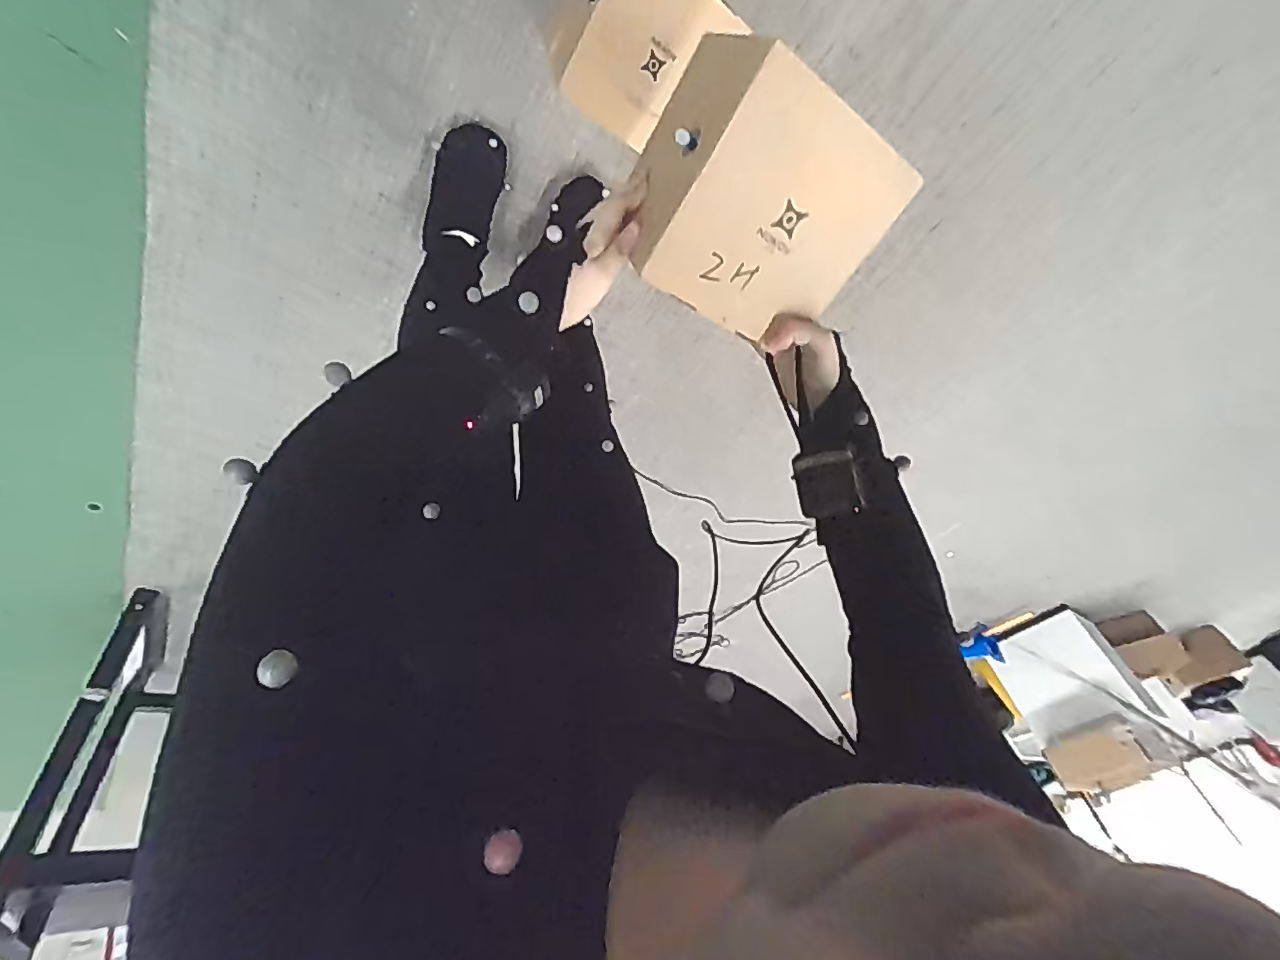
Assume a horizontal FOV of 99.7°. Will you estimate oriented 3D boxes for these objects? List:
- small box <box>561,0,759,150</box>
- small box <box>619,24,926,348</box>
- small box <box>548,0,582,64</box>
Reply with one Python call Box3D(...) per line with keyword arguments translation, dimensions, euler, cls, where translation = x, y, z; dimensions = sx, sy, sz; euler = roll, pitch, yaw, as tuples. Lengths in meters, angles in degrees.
Box3D(translation=(0.010, -0.536, 0.667), dimensions=(0.168, 0.176, 0.179), euler=(20, 129, -29), cls="small box")
Box3D(translation=(0.095, -0.256, 0.478), dimensions=(0.168, 0.176, 0.179), euler=(19, 123, -27), cls="small box")
Box3D(translation=(-0.018, -0.655, 0.774), dimensions=(0.168, 0.176, 0.179), euler=(22, 128, -33), cls="small box")
